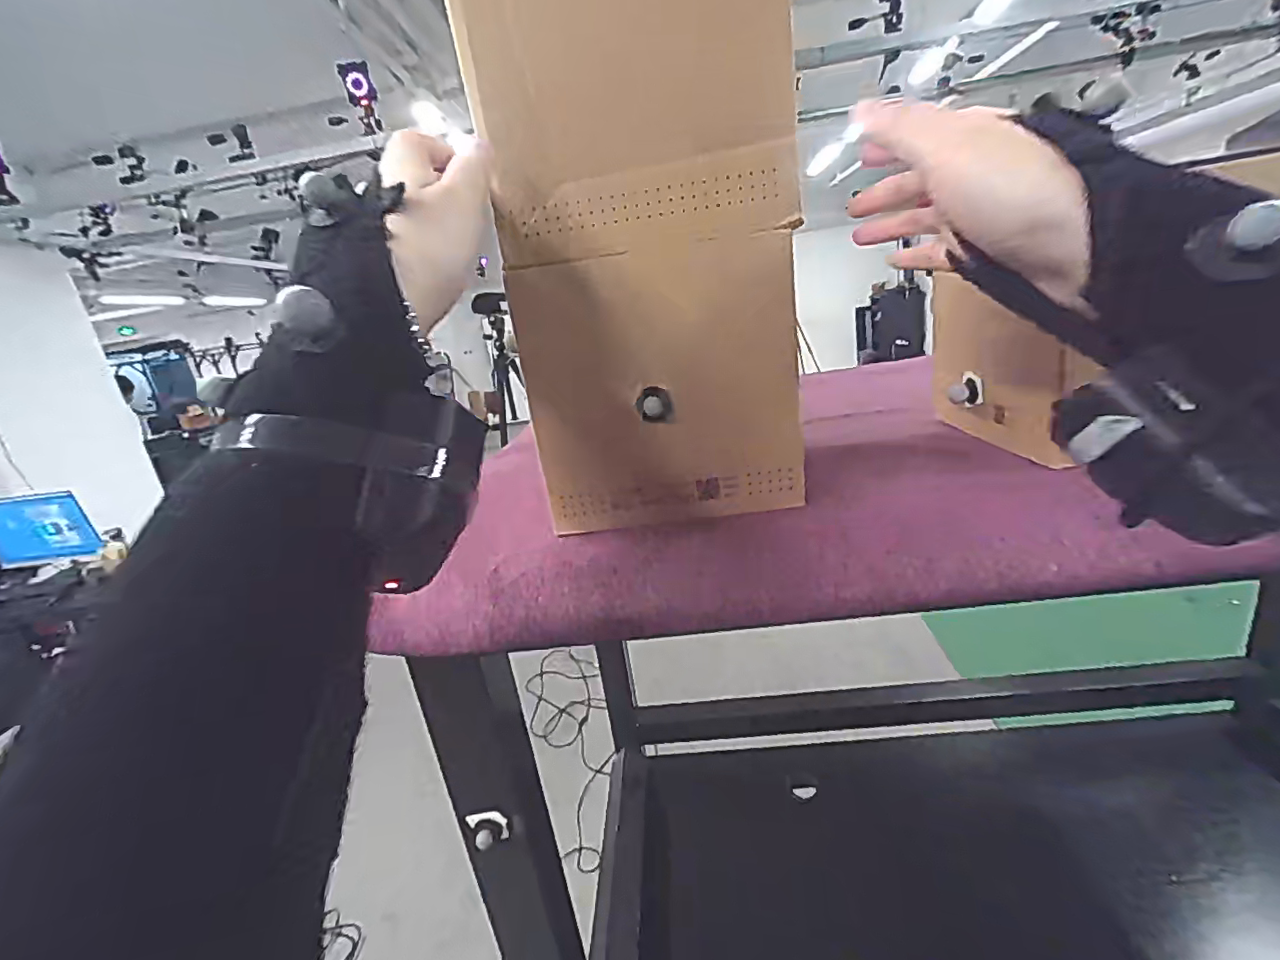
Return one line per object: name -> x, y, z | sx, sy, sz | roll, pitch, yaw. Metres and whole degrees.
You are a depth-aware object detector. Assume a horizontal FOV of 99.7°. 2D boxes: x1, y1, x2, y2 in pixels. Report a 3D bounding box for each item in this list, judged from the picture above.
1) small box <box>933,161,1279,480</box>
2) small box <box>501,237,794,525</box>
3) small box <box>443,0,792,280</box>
small box -> 0.332, -0.110, 0.386 | 0.179, 0.176, 0.168 | -8, 17, 4
small box -> 0.014, -0.071, 0.406 | 0.168, 0.176, 0.179 | -6, 17, 4
small box -> -0.008, -0.224, 0.357 | 0.179, 0.176, 0.168 | -7, 18, 3
